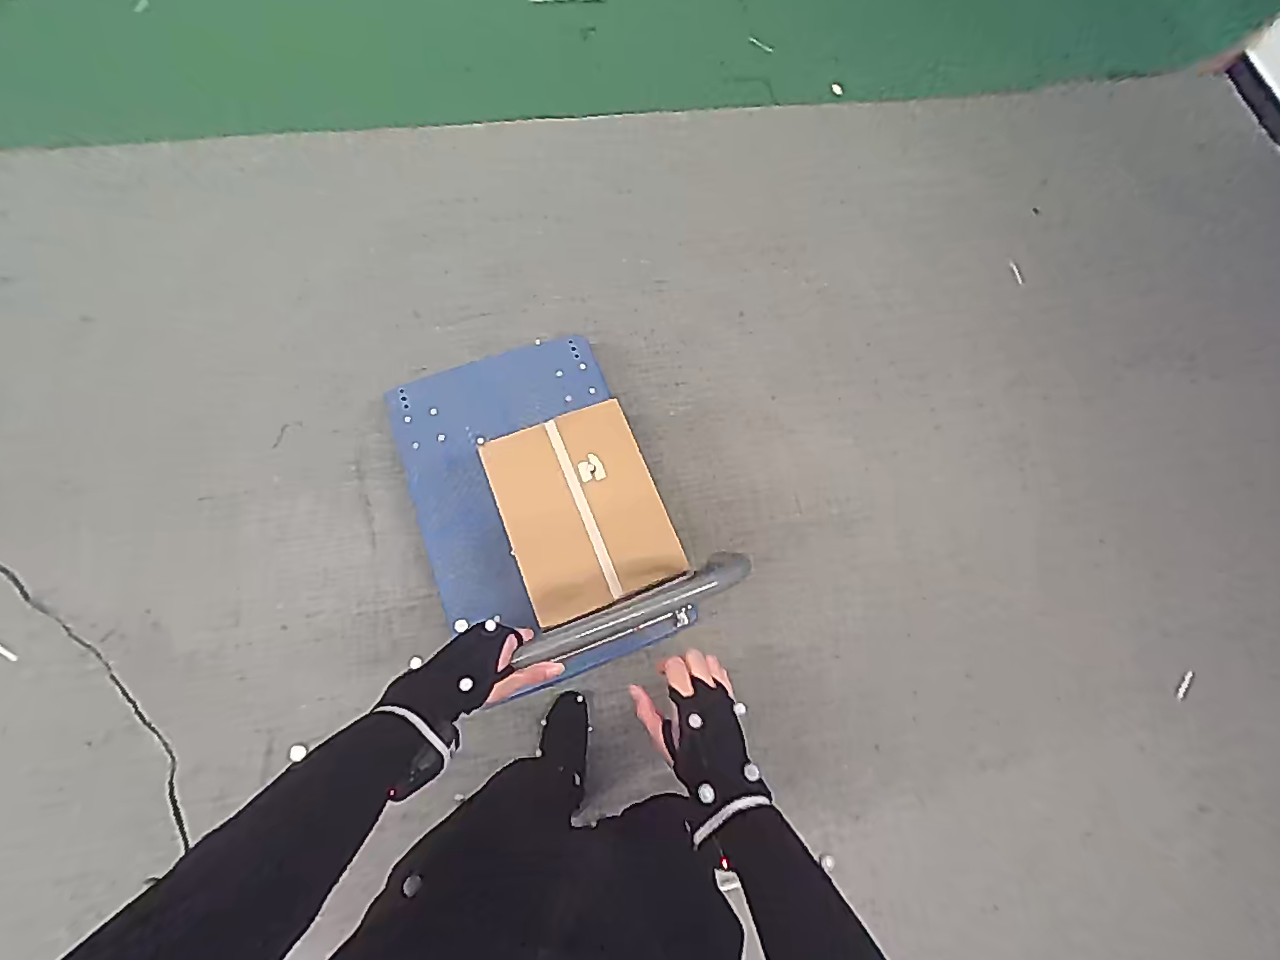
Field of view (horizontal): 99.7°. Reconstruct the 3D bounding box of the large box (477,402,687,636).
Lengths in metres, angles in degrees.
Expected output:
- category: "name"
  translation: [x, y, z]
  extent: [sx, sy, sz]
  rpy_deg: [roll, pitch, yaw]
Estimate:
- category: "large box"
  translation: [-0.129, 0.102, 1.228]
  extent: [0.320, 0.320, 0.408]
  rpy_deg: [-20, 74, -11]
